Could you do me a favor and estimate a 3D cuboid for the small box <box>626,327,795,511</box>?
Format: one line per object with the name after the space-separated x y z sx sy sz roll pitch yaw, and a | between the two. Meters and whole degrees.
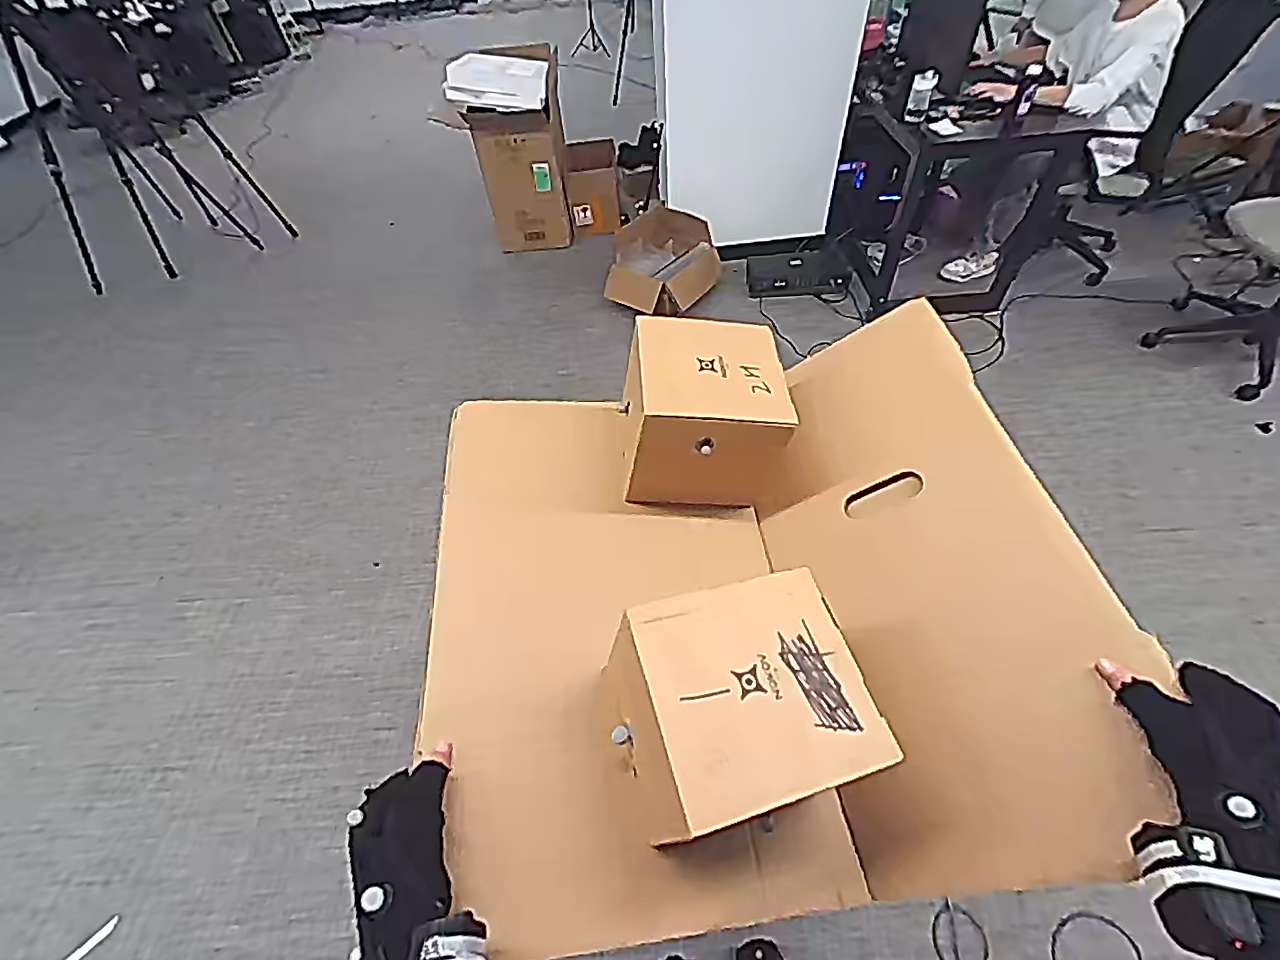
0.074 -0.073 0.699 0.179 0.176 0.168 3 54 -9 | small box

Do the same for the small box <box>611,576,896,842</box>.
0.082 0.210 0.495 0.179 0.176 0.168 -9 57 -16 | small box
